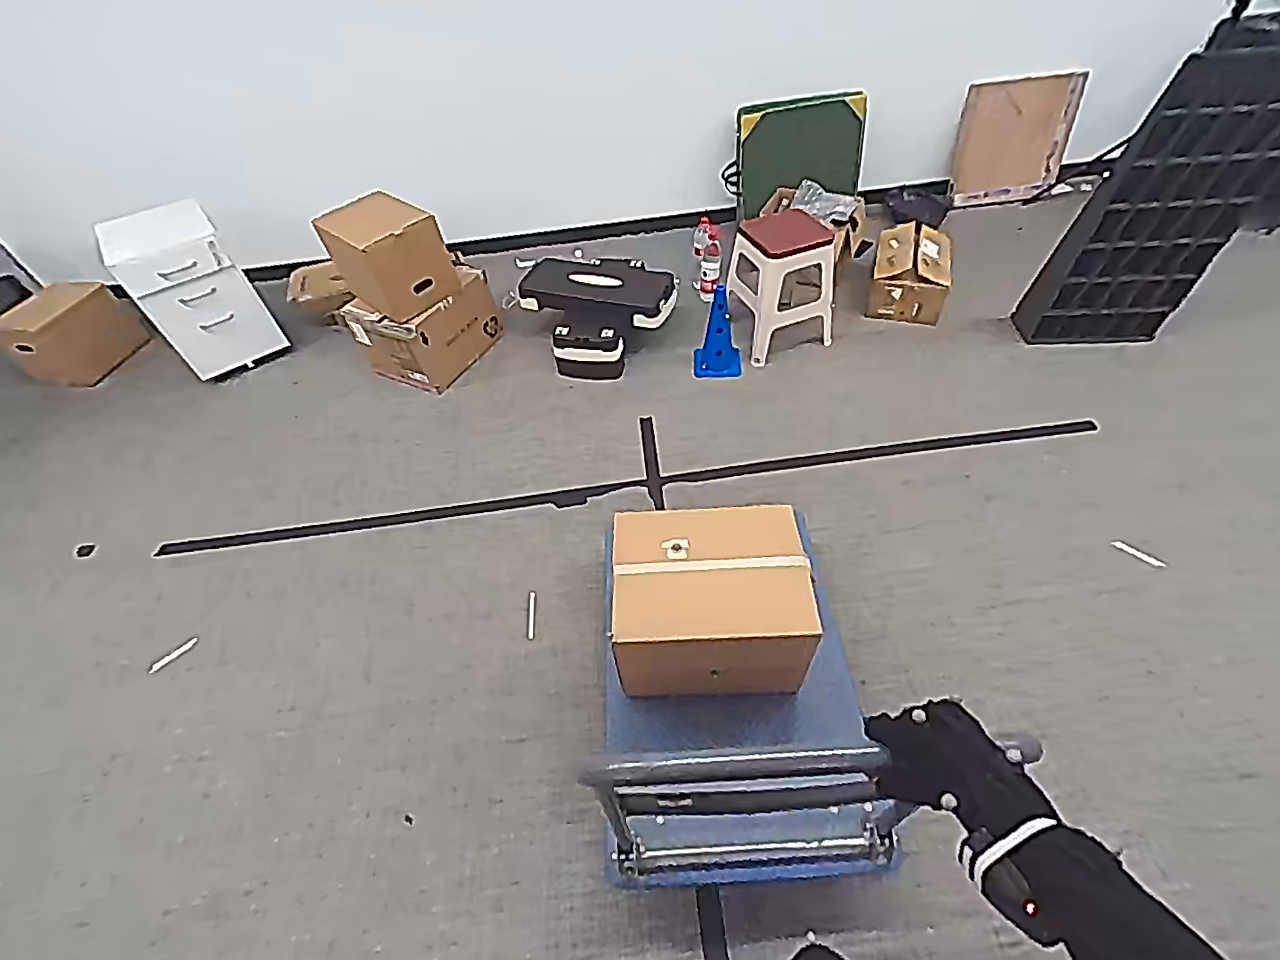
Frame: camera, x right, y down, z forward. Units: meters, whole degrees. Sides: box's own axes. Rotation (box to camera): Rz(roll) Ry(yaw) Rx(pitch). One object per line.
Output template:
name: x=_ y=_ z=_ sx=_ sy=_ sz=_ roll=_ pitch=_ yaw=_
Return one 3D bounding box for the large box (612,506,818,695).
large box: x=0.155 y=0.286 z=1.250 sx=0.408 sy=0.320 sz=0.320 roll=-4 pitch=49 yaw=3
